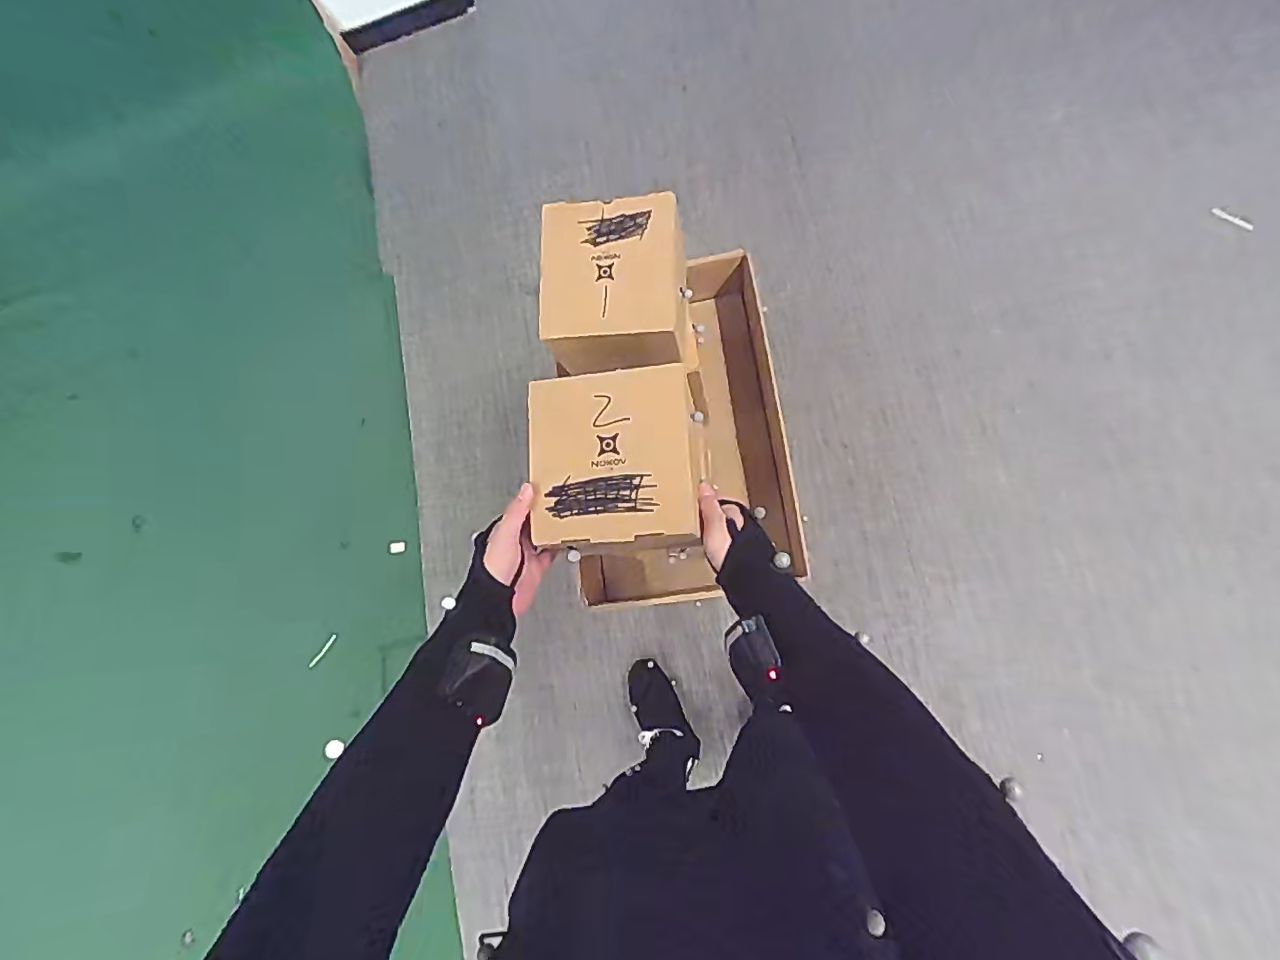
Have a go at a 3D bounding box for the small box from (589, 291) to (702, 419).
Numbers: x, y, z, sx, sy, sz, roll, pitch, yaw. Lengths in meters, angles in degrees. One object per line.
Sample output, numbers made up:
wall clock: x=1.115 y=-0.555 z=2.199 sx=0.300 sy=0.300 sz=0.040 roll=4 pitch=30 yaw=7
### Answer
small box: x=0.006 y=-0.215 z=0.883 sx=0.168 sy=0.176 sz=0.179 roll=-11 pitch=80 yaw=8

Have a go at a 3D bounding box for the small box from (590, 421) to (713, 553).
small box: x=0.023 y=0.022 z=0.832 sx=0.168 sy=0.176 sz=0.179 roll=-4 pitch=78 yaw=9

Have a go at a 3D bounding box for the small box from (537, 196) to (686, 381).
small box: x=-0.028 y=-0.244 z=0.725 sx=0.168 sy=0.176 sz=0.179 roll=-1 pitch=82 yaw=10

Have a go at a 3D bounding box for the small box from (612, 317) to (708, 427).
small box: x=0.035 y=-0.192 z=1.041 sx=0.168 sy=0.176 sz=0.179 roll=-10 pitch=80 yaw=9
